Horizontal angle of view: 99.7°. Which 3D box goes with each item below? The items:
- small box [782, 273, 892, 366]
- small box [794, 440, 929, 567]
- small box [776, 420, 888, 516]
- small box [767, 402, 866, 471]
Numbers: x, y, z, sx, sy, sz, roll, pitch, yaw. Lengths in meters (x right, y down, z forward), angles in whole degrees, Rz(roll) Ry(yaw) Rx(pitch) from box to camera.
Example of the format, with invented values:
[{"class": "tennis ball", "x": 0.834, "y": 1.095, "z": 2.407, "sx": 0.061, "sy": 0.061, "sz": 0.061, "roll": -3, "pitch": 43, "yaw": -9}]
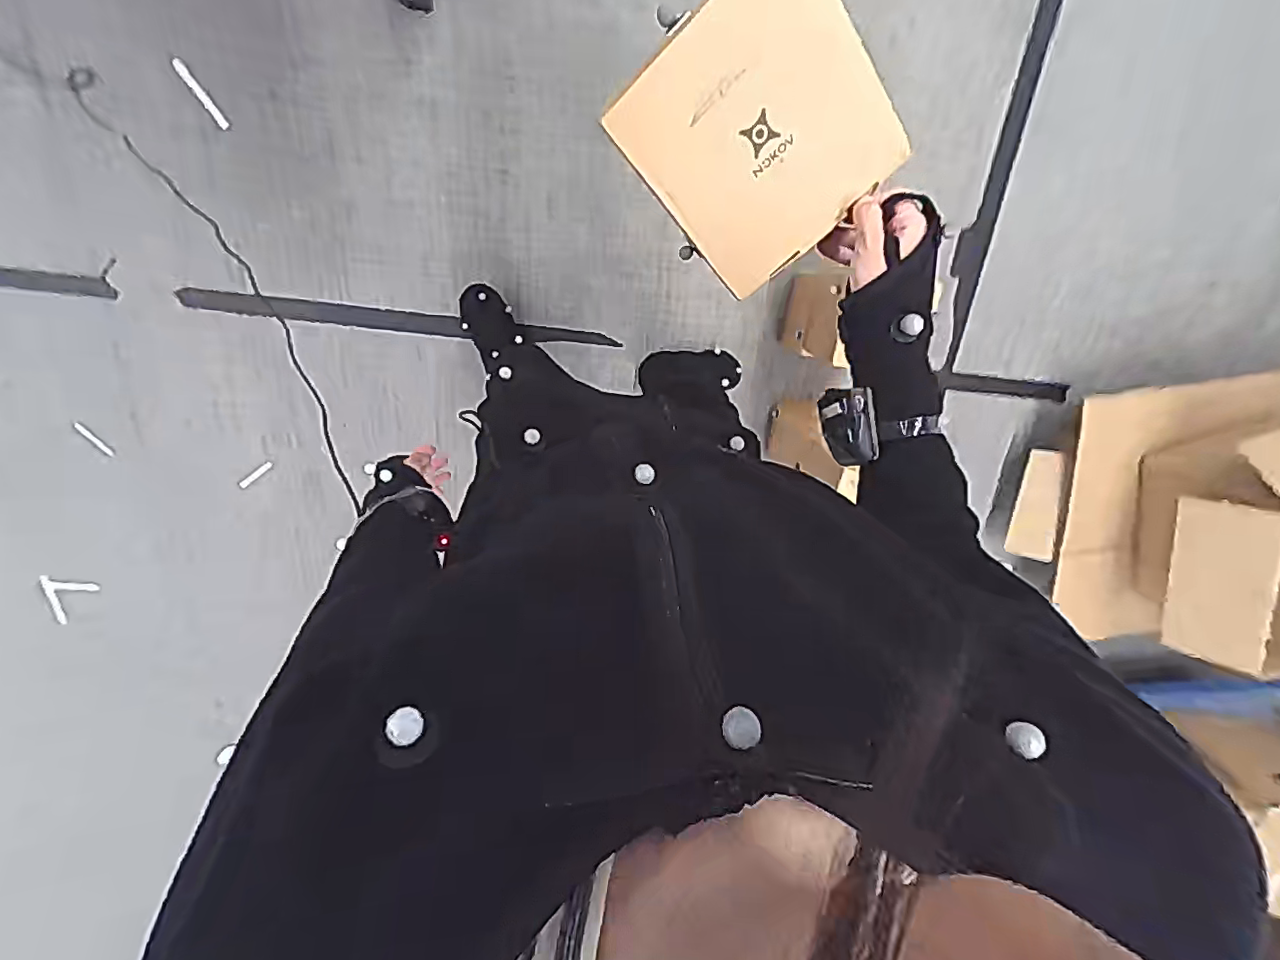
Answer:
[{"class": "small box", "x": 0.439, "y": -0.372, "z": 1.235, "sx": 0.168, "sy": 0.176, "sz": 0.179, "roll": 6, "pitch": 113, "yaw": -4}, {"class": "small box", "x": 0.415, "y": 0.041, "z": 1.054, "sx": 0.168, "sy": 0.176, "sz": 0.179, "roll": 10, "pitch": 114, "yaw": -5}, {"class": "small box", "x": 0.415, "y": -0.024, "z": 1.204, "sx": 0.168, "sy": 0.176, "sz": 0.179, "roll": 7, "pitch": 114, "yaw": -4}, {"class": "small box", "x": 0.430, "y": -0.092, "z": 1.354, "sx": 0.179, "sy": 0.176, "sz": 0.168, "roll": 4, "pitch": 114, "yaw": -4}]
